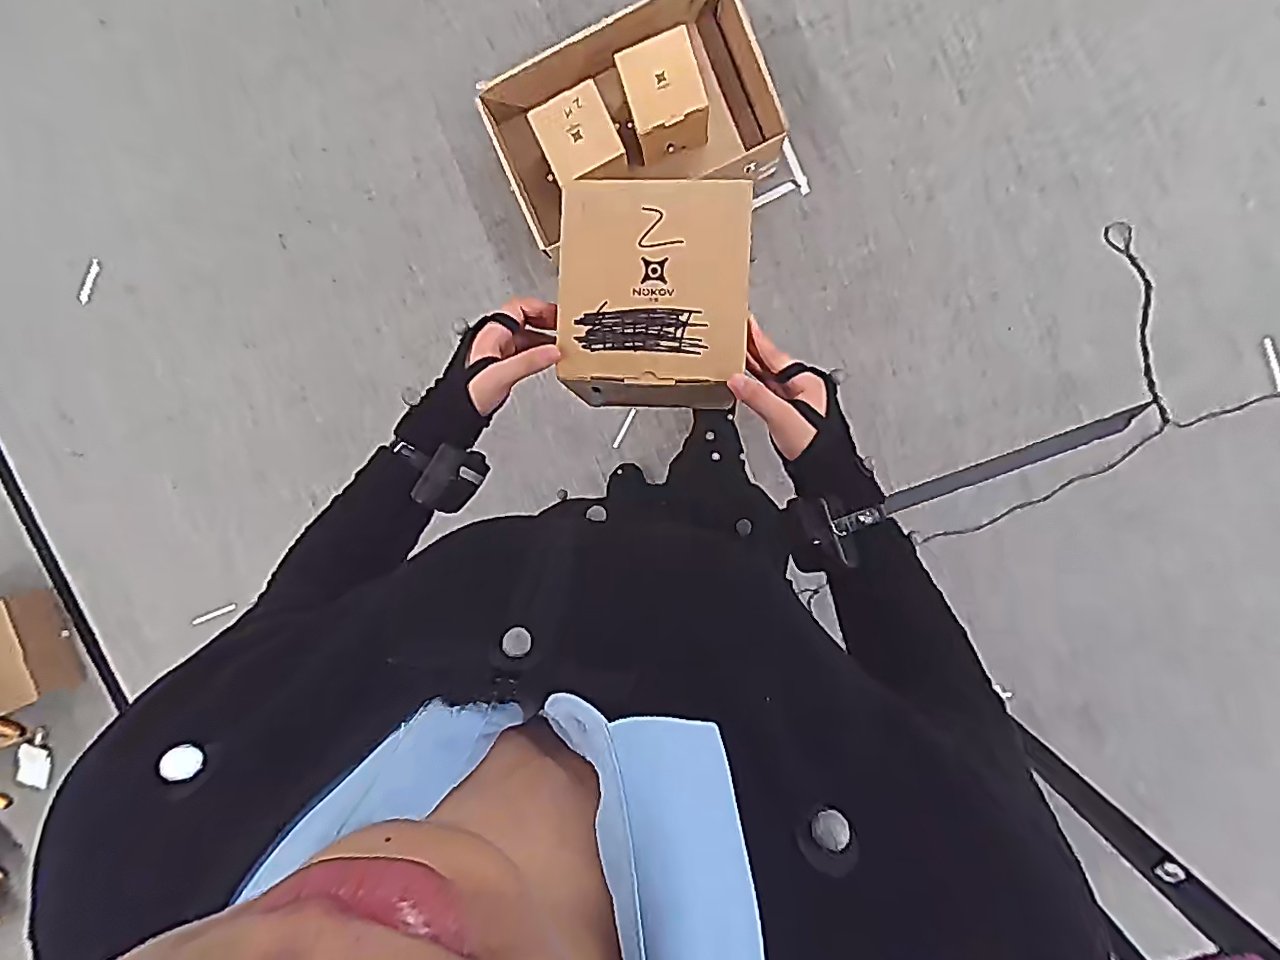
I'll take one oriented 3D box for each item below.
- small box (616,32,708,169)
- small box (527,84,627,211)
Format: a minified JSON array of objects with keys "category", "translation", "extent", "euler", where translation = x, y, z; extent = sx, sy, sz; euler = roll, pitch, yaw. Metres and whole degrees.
[{"category":"small box","translation":[0.053,-0.871,1.257],"extent":[0.168,0.176,0.179],"euler":[-18,95,6]},{"category":"small box","translation":[-0.139,-0.768,1.278],"extent":[0.168,0.176,0.179],"euler":[-25,94,5]}]
